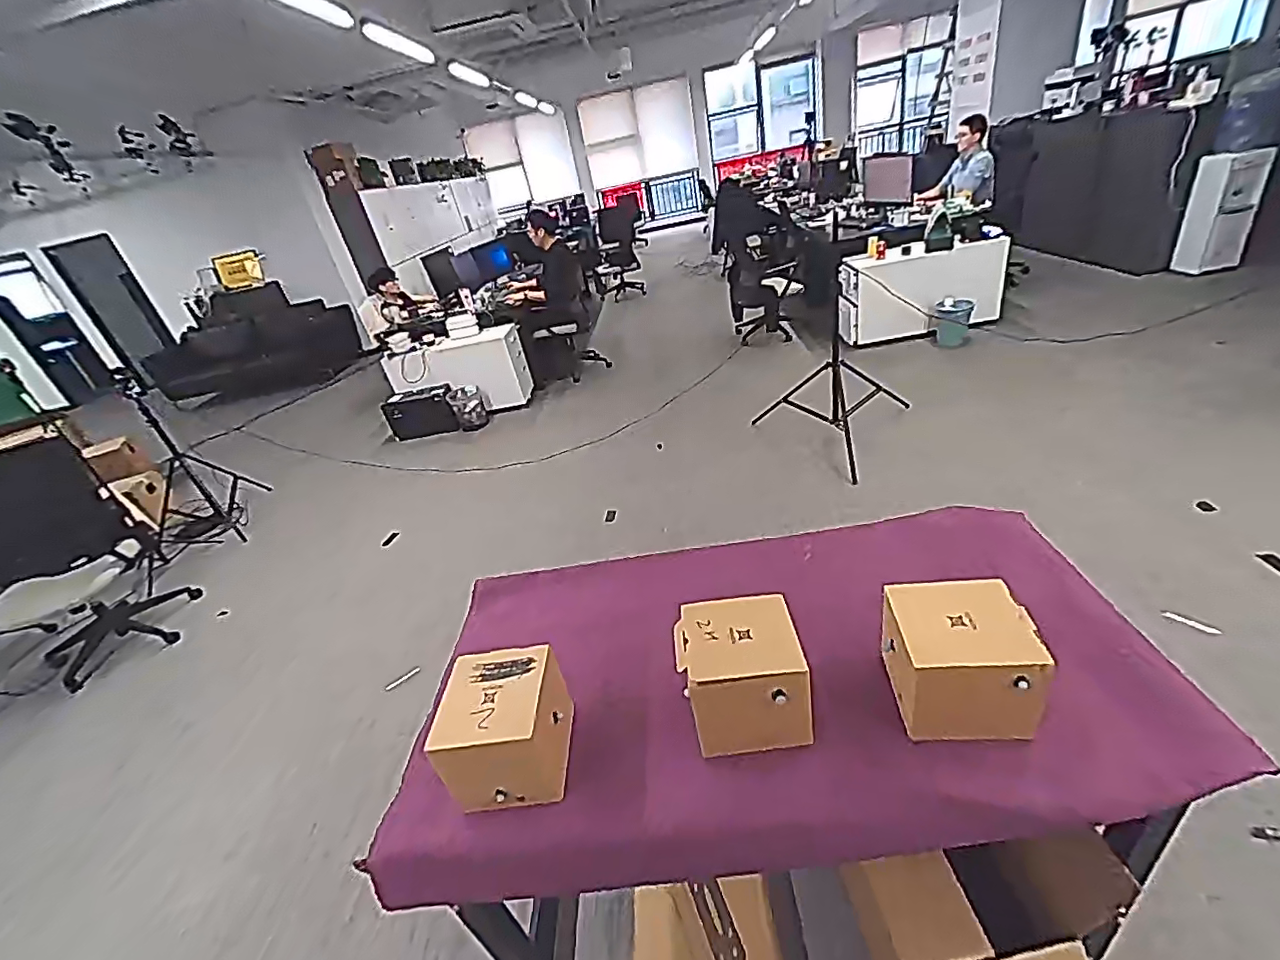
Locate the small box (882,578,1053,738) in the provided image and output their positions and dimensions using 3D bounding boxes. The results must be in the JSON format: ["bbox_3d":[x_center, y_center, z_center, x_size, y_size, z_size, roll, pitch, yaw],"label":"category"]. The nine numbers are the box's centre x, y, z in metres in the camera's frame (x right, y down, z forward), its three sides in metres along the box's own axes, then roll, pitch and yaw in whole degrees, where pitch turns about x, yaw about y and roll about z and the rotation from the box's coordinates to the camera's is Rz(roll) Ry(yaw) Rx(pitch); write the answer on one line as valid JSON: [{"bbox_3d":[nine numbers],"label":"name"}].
[{"bbox_3d":[0.482,0.272,0.825,0.179,0.176,0.168,-6,31,11],"label":"small box"}]

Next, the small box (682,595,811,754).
[{"bbox_3d":[0.170,0.313,0.874,0.179,0.176,0.168,-10,28,5],"label":"small box"}]
